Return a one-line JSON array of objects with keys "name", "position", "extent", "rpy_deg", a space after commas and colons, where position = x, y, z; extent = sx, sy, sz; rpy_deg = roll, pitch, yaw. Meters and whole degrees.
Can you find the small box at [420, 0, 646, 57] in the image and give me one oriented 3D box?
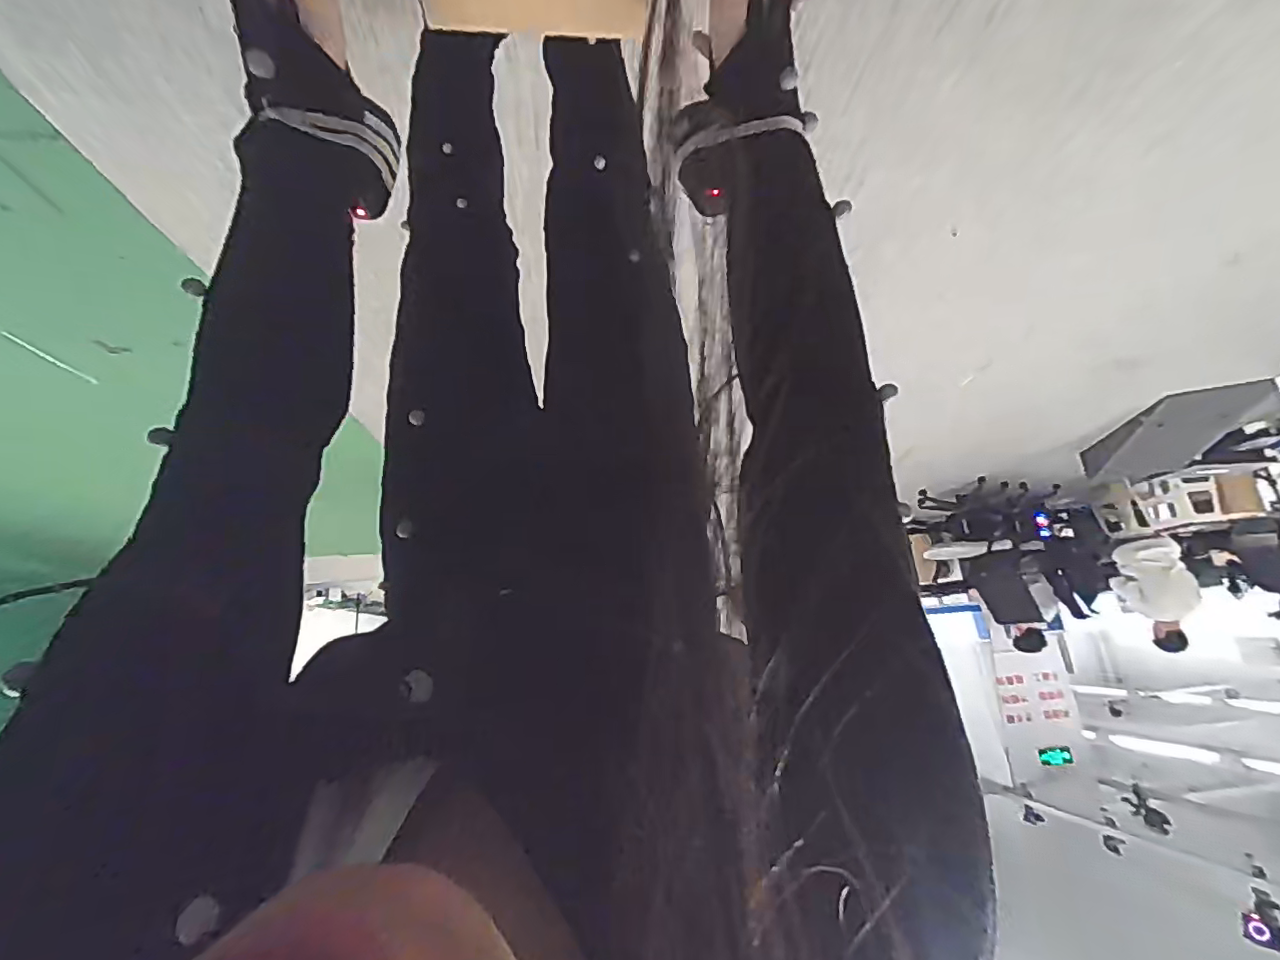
[{"name": "small box", "position": [-0.074, -0.438, 0.362], "extent": [0.168, 0.176, 0.179], "rpy_deg": [-2, 163, -7]}]
